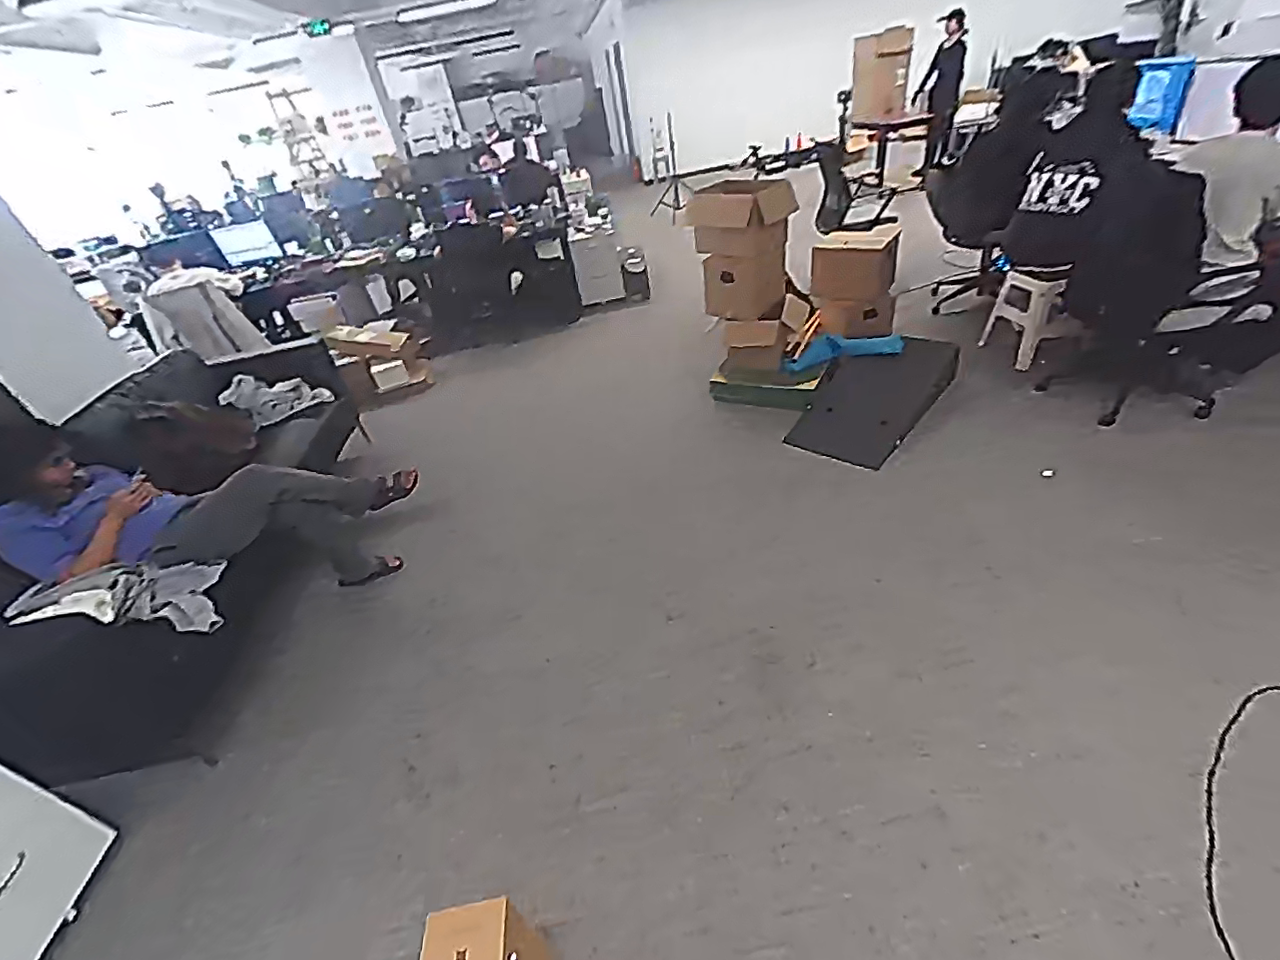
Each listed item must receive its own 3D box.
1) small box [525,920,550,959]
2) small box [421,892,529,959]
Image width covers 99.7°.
[{"bbox_3d":[-0.297,1.097,1.168,0.168,0.176,0.179,-11,35,2],"label":"small box"},{"bbox_3d":[-0.325,0.967,1.075,0.168,0.176,0.179,-12,34,-1],"label":"small box"}]
